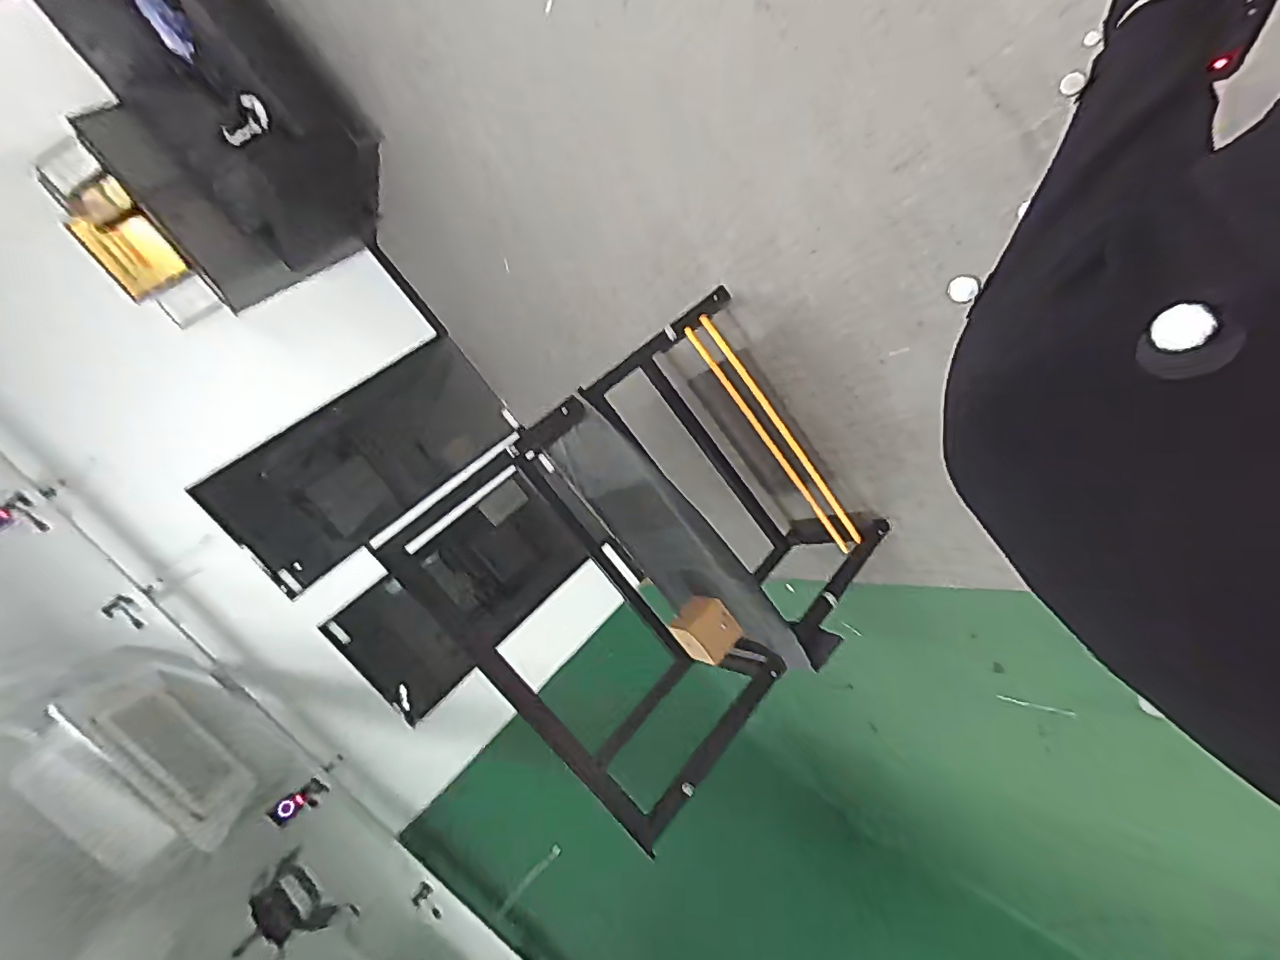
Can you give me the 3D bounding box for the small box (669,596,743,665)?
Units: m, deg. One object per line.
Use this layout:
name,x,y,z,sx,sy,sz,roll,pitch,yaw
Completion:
small box,0.244,0.546,1.986,0.168,0.176,0.179,52,156,-9
